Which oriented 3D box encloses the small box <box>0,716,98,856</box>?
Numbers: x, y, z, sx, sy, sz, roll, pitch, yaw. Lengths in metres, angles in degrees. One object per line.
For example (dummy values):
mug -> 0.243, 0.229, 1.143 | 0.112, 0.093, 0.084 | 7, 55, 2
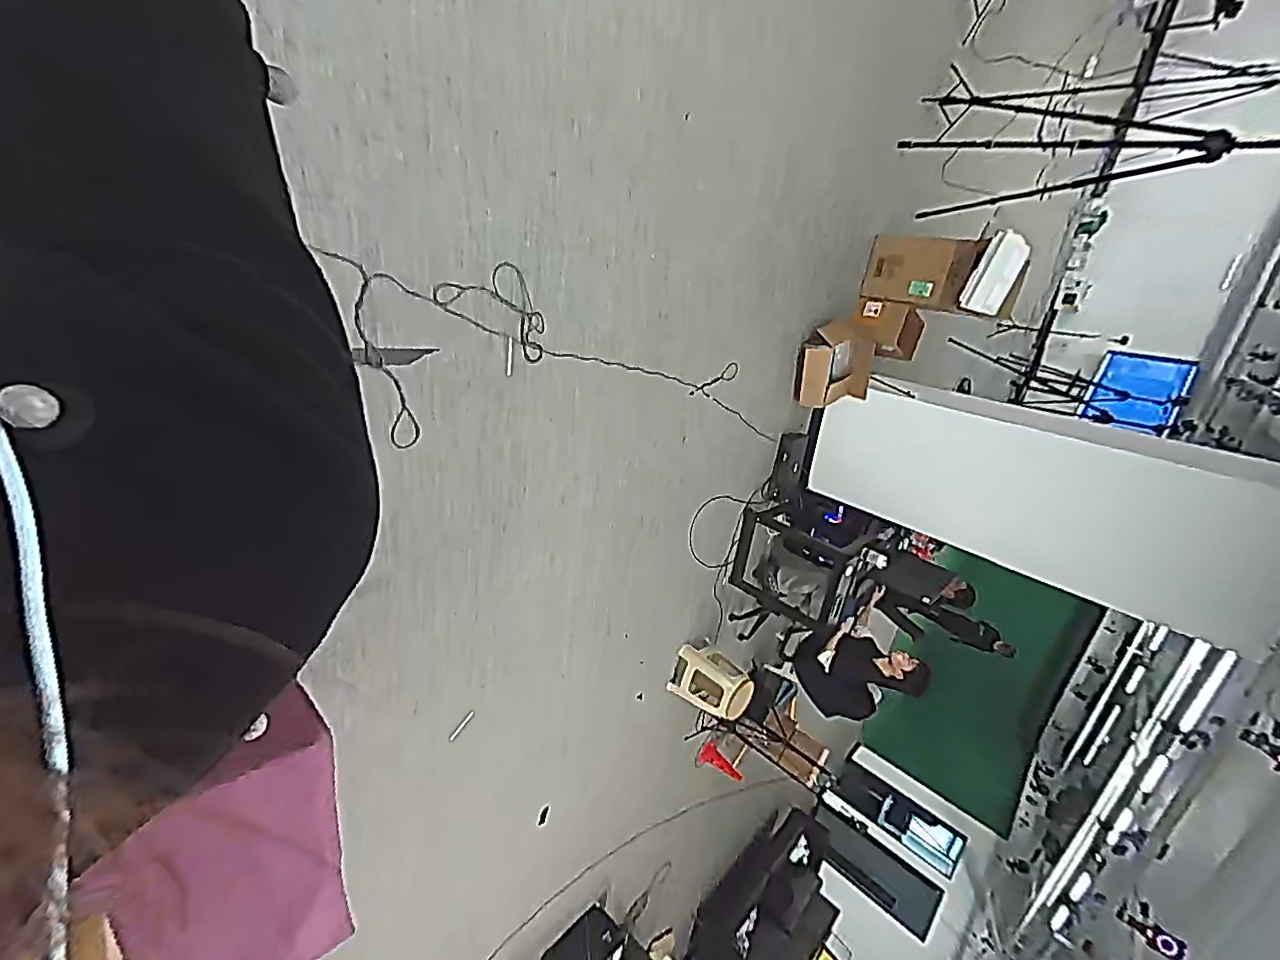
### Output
small box -> -1.314, 0.654, 1.166 | 0.179, 0.176, 0.168 | -16, 121, -44
